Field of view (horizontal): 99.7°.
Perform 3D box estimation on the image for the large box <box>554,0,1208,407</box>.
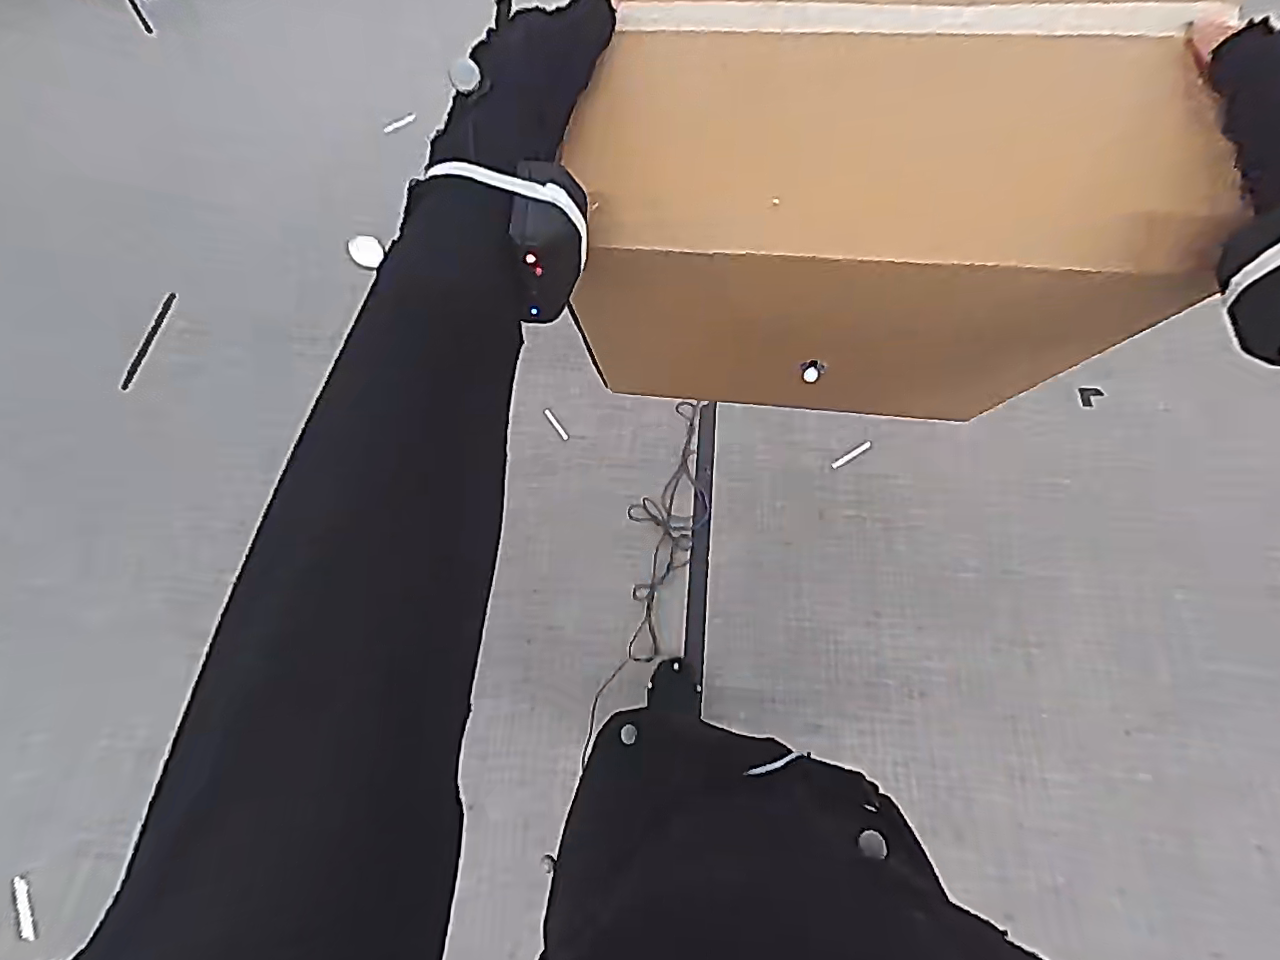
[{"bbox_3d":[0.170,-0.264,0.506,0.408,0.320,0.320,5,81,7],"label":"large box"}]
